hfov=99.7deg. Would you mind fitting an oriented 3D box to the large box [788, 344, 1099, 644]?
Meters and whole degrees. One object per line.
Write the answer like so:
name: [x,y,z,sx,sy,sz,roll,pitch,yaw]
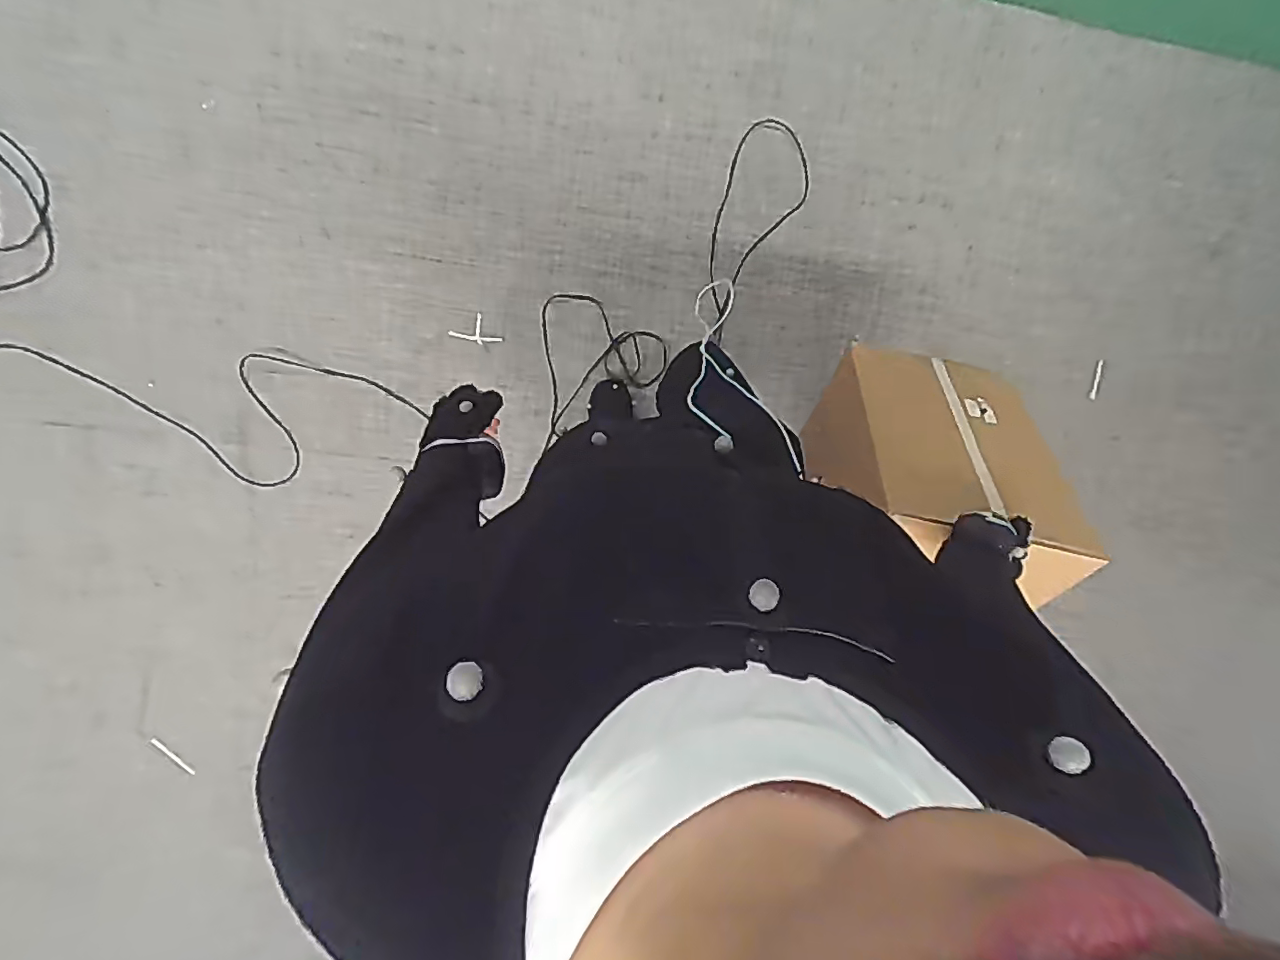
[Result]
large box: [0.474,0.025,0.965,0.320,0.408,0.320,13,138,-3]
